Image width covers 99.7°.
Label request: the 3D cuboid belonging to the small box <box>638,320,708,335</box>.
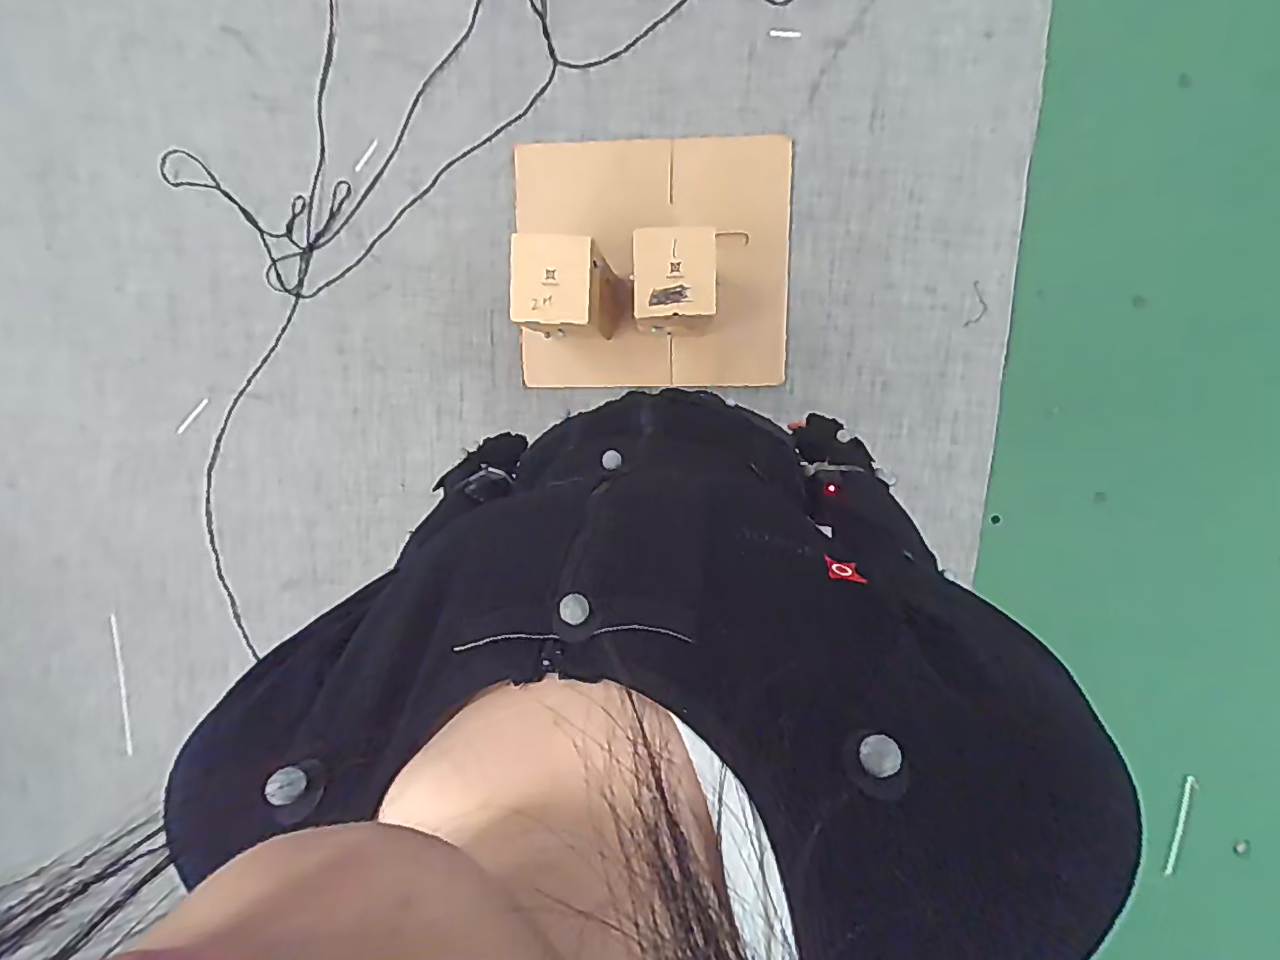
[{"bbox_3d":[0.079,-0.453,1.318,0.168,0.176,0.179,-1,100,4],"label":"small box"}]

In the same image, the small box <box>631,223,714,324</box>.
[{"bbox_3d":[0.071,-0.430,1.155,0.168,0.176,0.179,-1,99,4],"label":"small box"}]

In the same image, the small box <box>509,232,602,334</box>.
[{"bbox_3d":[-0.177,-0.420,1.171,0.168,0.176,0.179,3,99,5],"label":"small box"}]
